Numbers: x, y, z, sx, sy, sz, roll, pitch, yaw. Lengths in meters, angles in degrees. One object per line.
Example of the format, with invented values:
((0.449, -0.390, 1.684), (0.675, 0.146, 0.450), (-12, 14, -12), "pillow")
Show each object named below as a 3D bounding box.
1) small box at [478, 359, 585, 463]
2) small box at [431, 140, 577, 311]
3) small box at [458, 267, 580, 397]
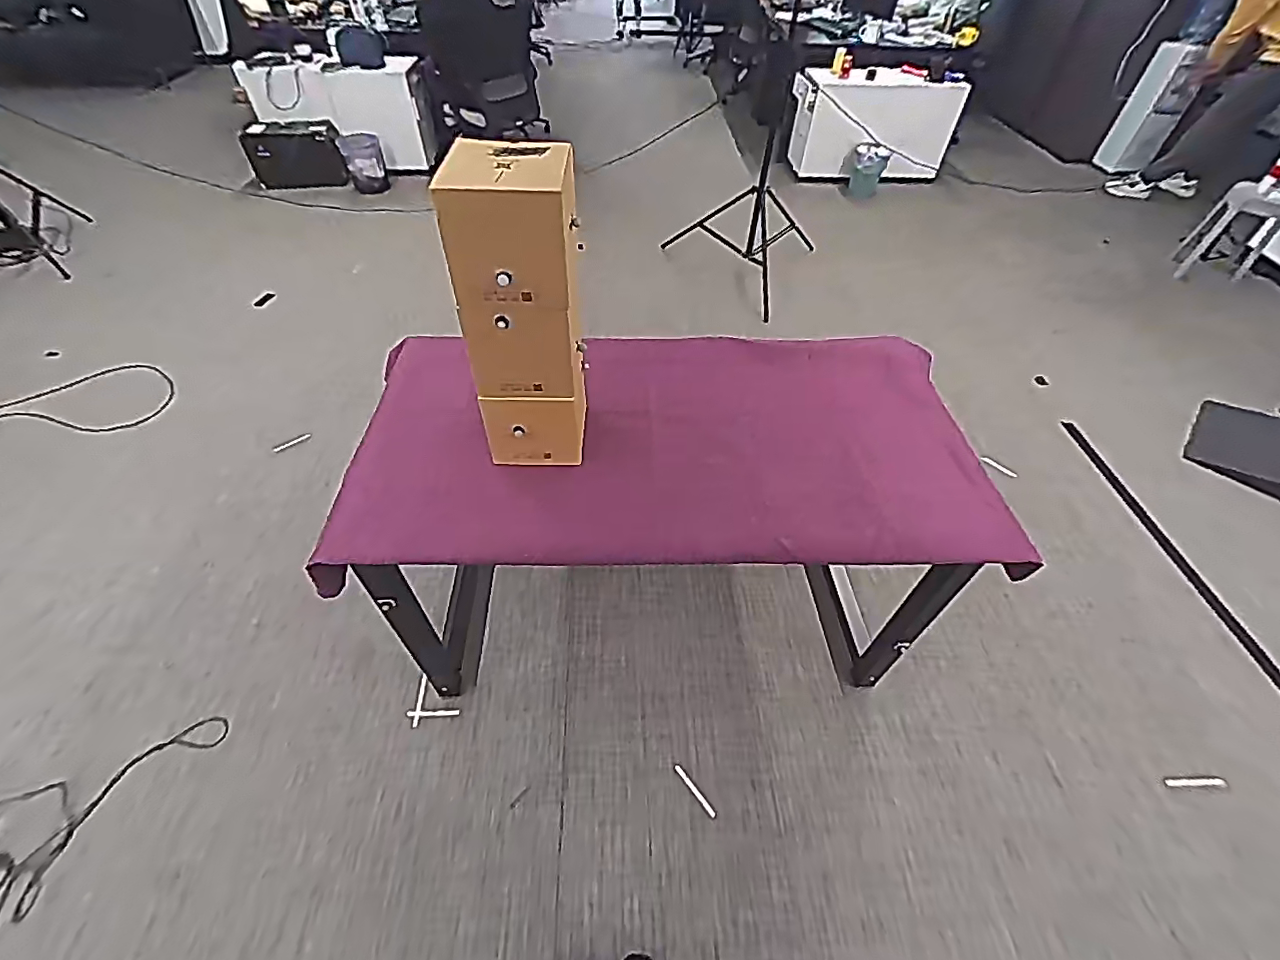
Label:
((-0.194, -0.146, 1.025), (0.168, 0.176, 0.179), (0, 48, -2), "small box")
((-0.182, -0.367, 0.782), (0.168, 0.176, 0.179), (0, 49, -2), "small box")
((-0.190, -0.260, 0.907), (0.168, 0.176, 0.179), (0, 48, -2), "small box")
